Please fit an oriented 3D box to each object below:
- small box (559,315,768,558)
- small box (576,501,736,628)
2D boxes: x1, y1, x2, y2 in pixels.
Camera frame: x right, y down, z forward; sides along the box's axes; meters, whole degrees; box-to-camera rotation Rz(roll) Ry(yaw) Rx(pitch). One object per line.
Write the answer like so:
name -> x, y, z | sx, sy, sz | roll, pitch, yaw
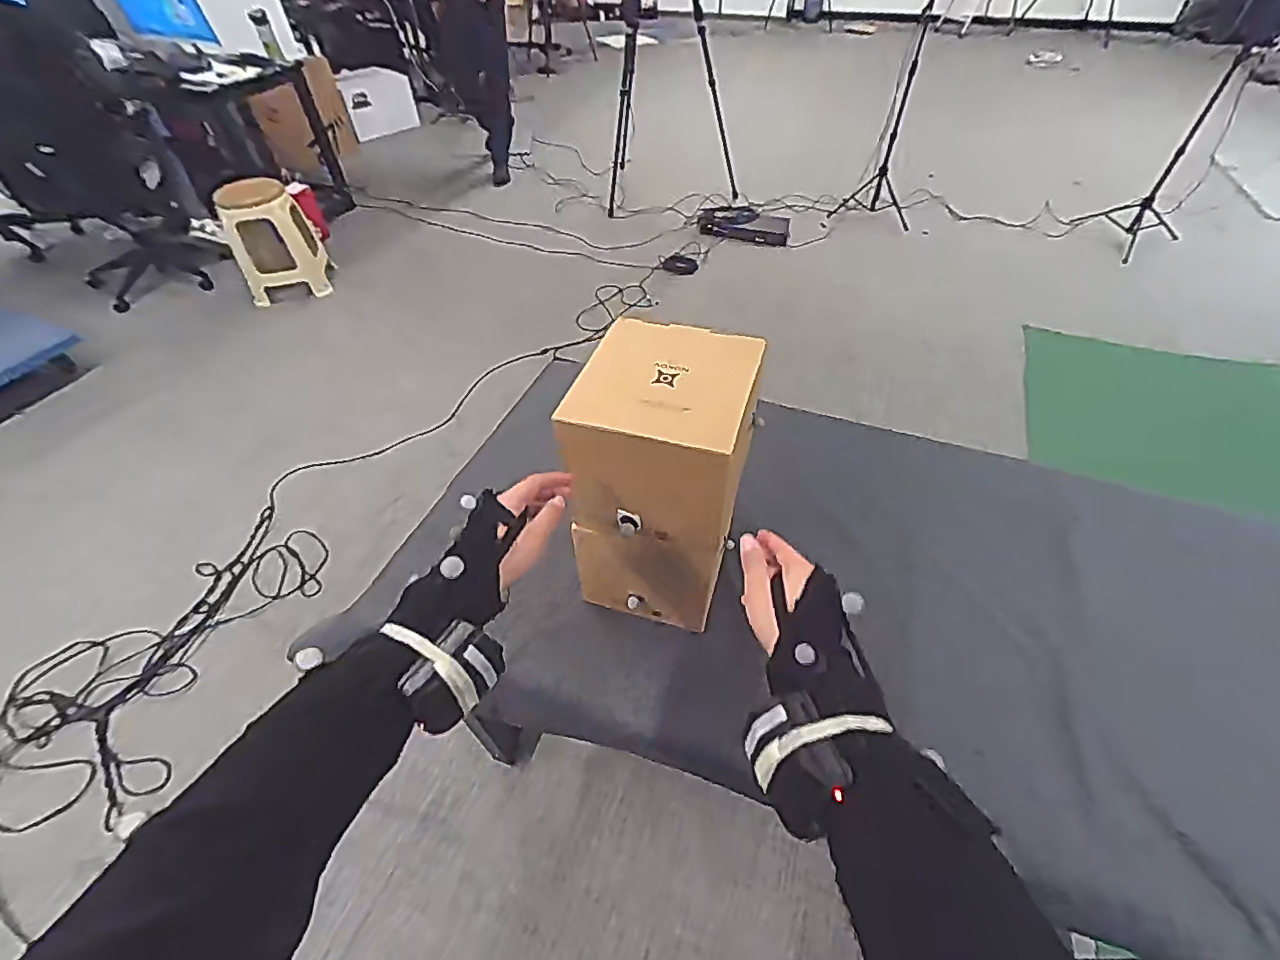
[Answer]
small box -> 0.030, -0.047, 0.580 | 0.168, 0.176, 0.179 | 13, 50, 14
small box -> 0.029, 0.061, 0.701 | 0.168, 0.176, 0.179 | 12, 50, 12
